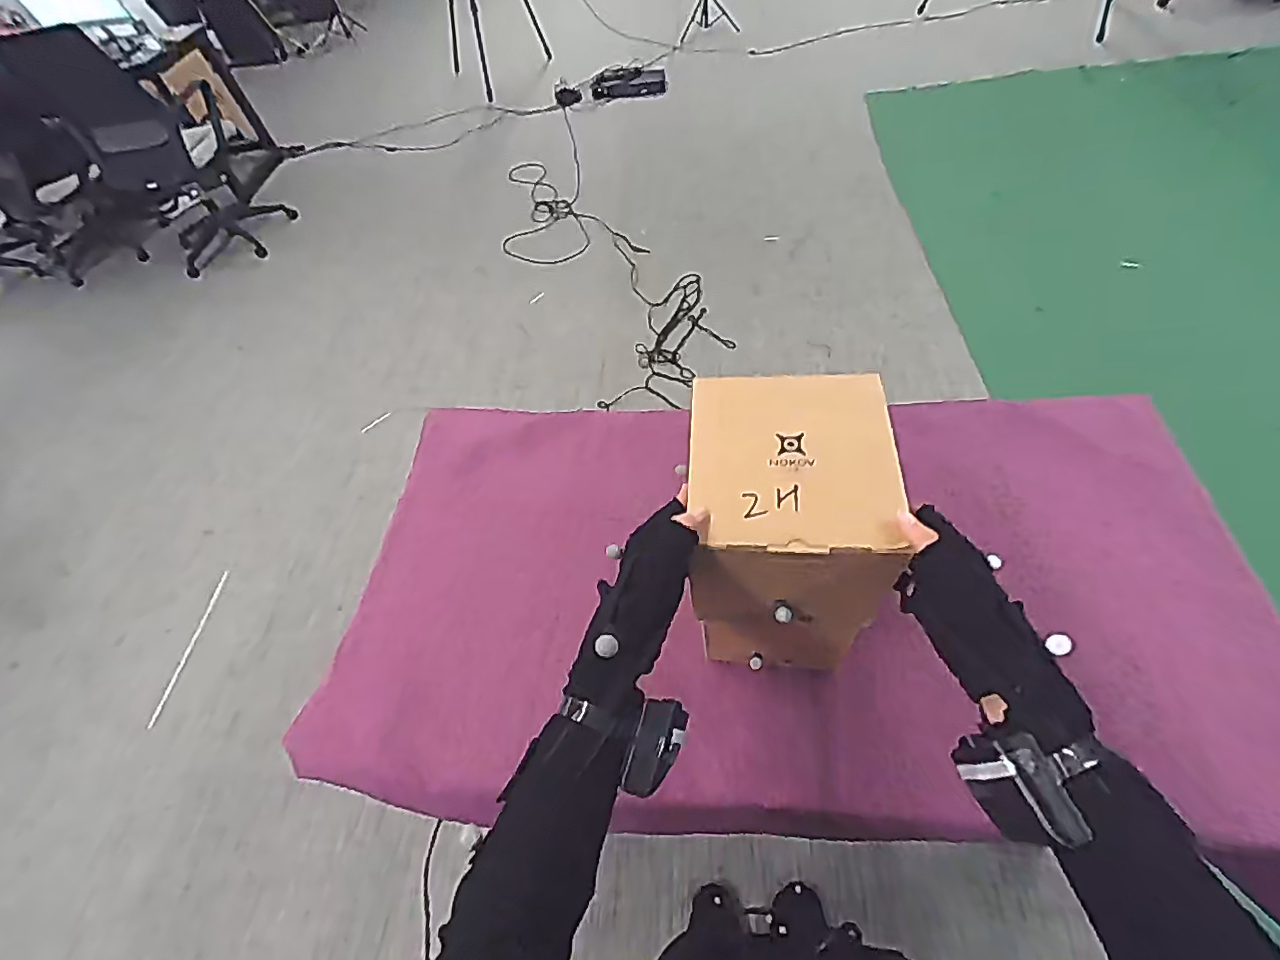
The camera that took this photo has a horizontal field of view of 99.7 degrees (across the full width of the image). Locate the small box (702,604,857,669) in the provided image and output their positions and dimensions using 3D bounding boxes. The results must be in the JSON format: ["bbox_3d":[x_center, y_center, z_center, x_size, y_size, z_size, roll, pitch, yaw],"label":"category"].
[{"bbox_3d":[0.169,0.122,0.687,0.168,0.176,0.179,2,56,11],"label":"small box"}]

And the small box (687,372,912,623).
[{"bbox_3d":[0.134,0.018,0.510,0.168,0.176,0.179,1,57,9],"label":"small box"}]
